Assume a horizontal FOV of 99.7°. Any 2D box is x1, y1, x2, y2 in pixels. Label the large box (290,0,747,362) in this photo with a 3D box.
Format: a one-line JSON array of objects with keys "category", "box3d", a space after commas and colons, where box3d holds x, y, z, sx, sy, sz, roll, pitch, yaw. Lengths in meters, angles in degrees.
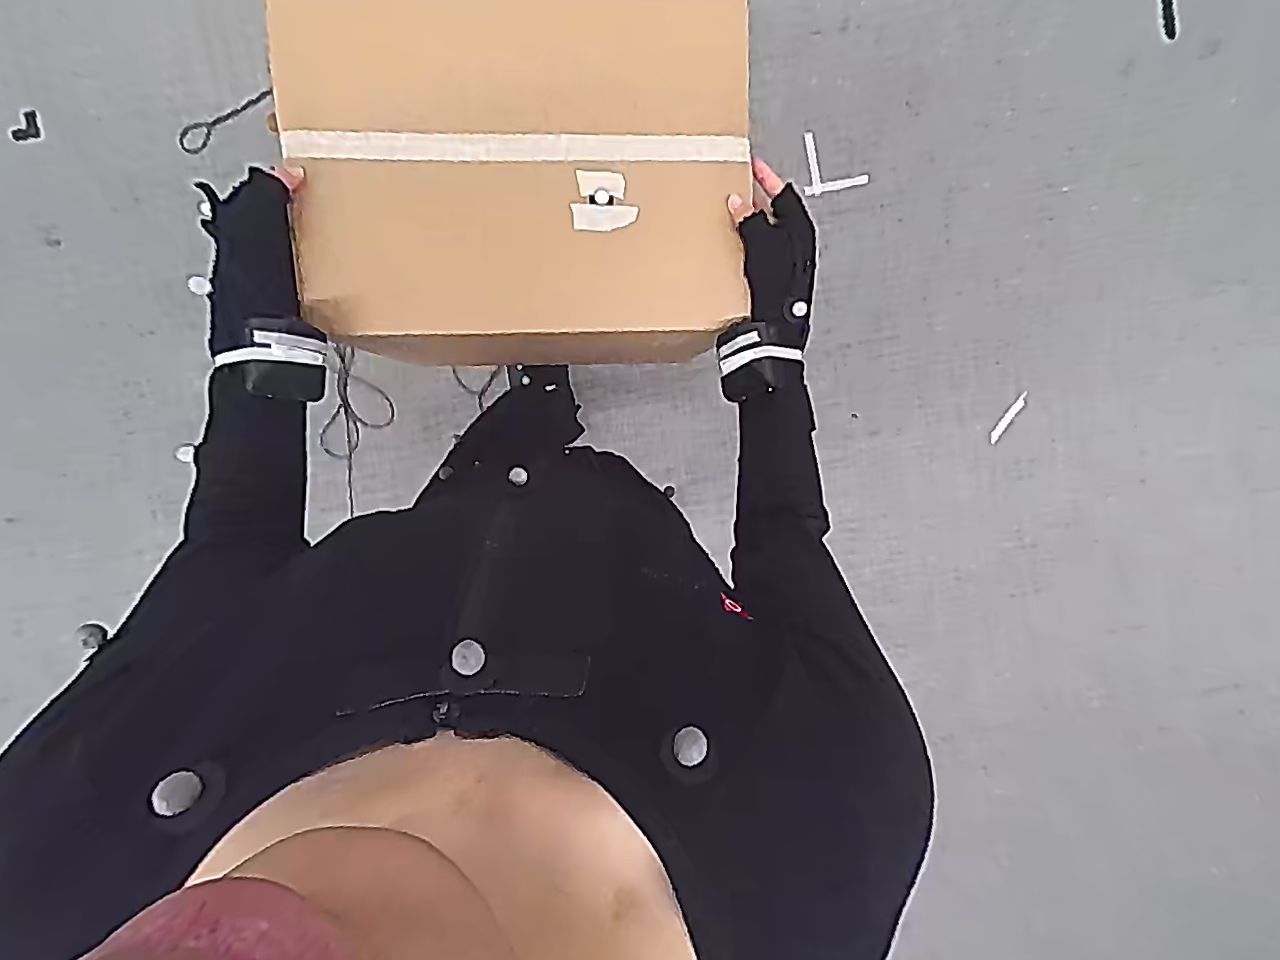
[{"category": "large box", "box3d": [-0.115, -0.318, 0.641, 0.408, 0.320, 0.320, -2, 98, -6]}]
